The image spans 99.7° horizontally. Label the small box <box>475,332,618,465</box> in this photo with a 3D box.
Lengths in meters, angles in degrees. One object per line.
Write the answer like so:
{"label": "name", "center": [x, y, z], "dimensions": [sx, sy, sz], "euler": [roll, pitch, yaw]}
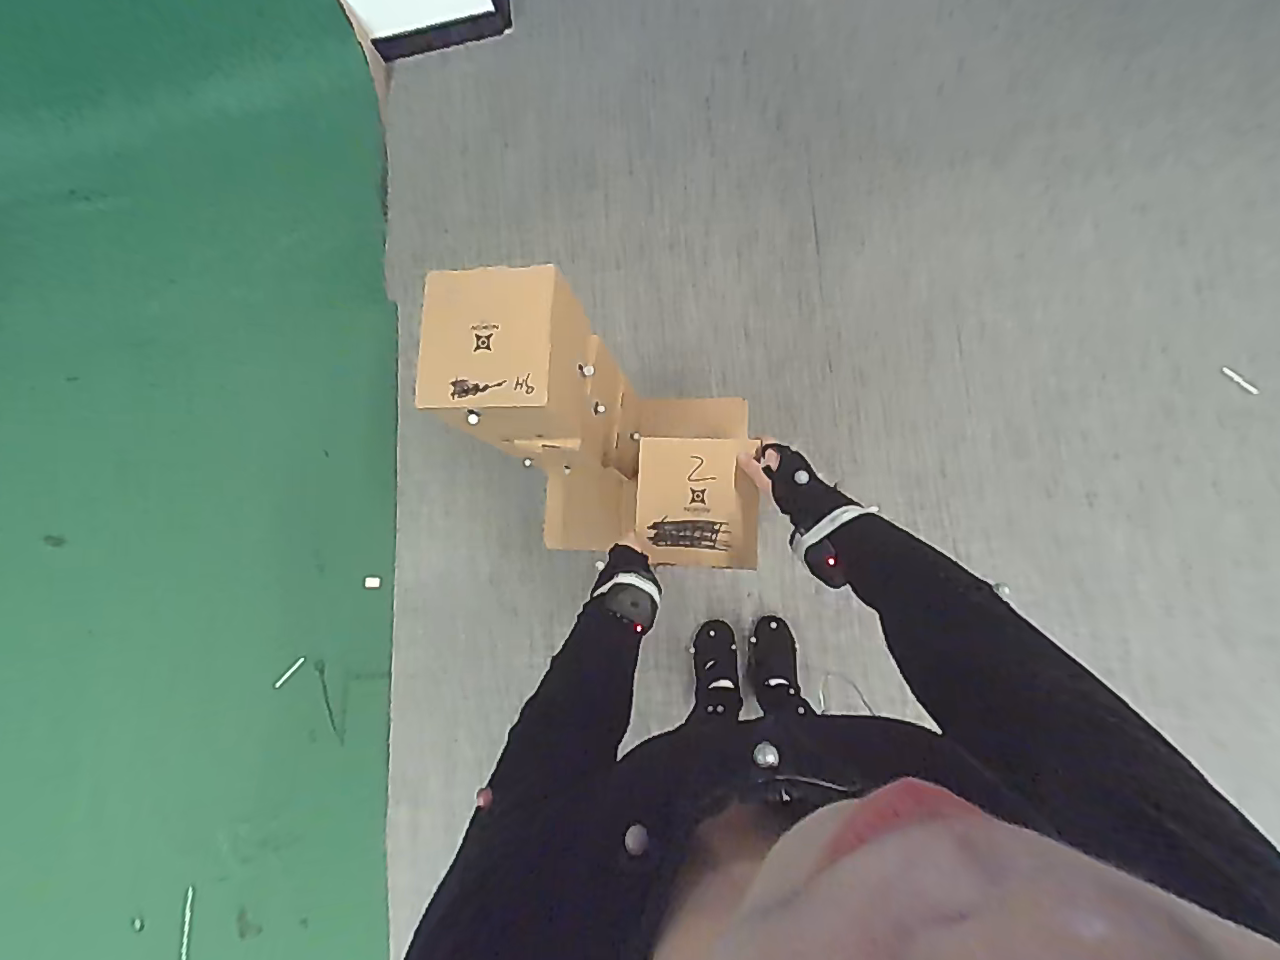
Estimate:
{"label": "small box", "center": [-0.139, -0.129, 0.873], "dimensions": [0.168, 0.176, 0.179], "euler": [8, 82, 11]}

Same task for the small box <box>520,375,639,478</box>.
{"label": "small box", "center": [-0.108, -0.102, 1.033], "dimensions": [0.179, 0.176, 0.168], "euler": [6, 83, 9]}

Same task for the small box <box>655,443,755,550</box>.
{"label": "small box", "center": [0.121, 0.037, 0.972], "dimensions": [0.168, 0.176, 0.179], "euler": [-2, 81, 10]}

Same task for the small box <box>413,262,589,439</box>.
{"label": "small box", "center": [-0.169, -0.161, 0.714], "dimensions": [0.168, 0.176, 0.179], "euler": [1, 81, 11]}
